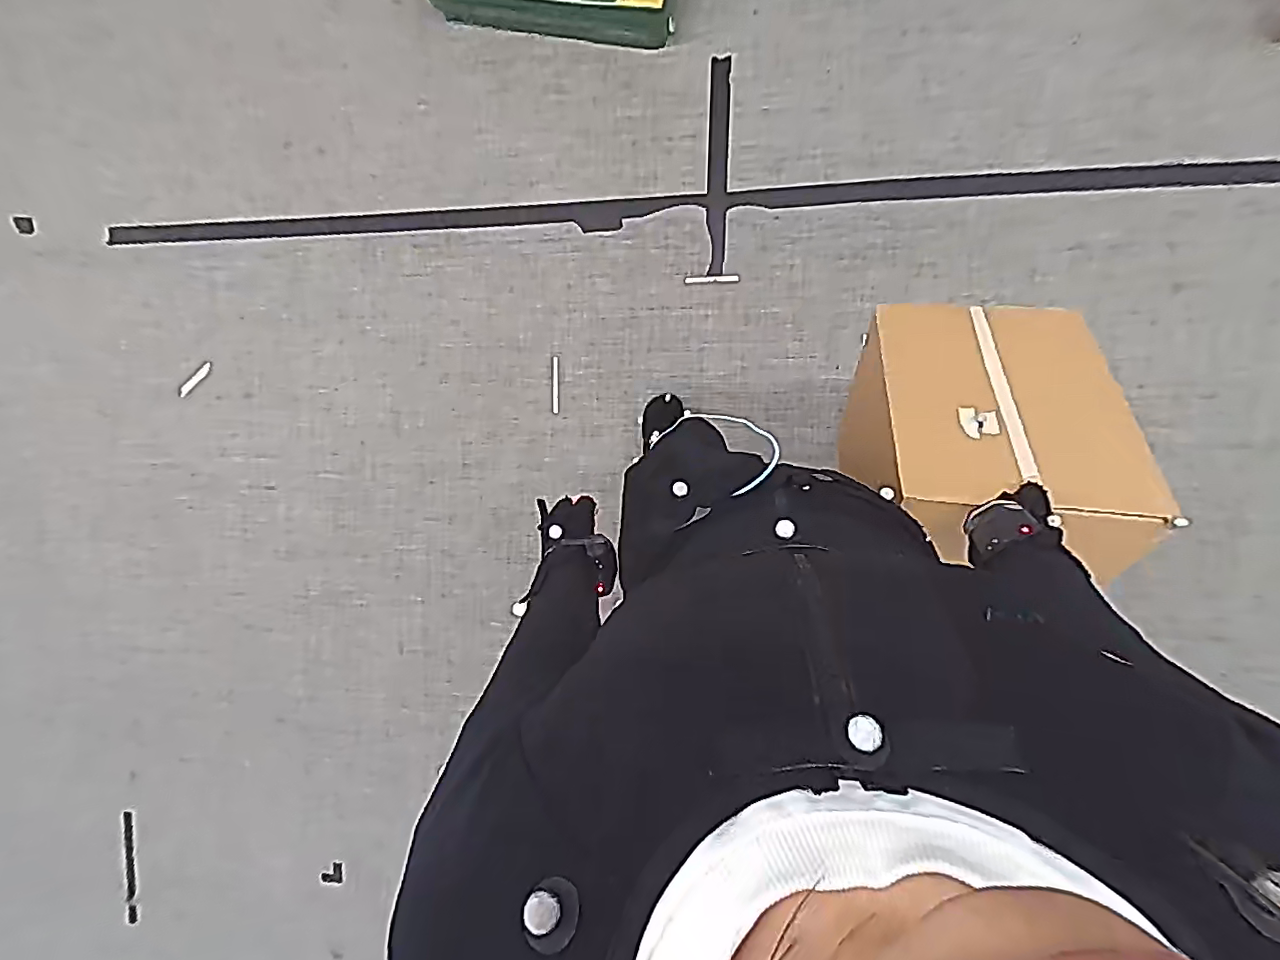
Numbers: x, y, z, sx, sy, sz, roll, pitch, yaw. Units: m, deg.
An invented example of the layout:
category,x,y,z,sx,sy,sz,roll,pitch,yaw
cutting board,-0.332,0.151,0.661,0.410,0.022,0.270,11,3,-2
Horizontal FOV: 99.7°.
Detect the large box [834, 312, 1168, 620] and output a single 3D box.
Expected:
category,x,y,z,sx,sy,sz,roll,pitch,yaw
large box,0.525,-0.027,0.904,0.320,0.320,0.408,4,54,10
